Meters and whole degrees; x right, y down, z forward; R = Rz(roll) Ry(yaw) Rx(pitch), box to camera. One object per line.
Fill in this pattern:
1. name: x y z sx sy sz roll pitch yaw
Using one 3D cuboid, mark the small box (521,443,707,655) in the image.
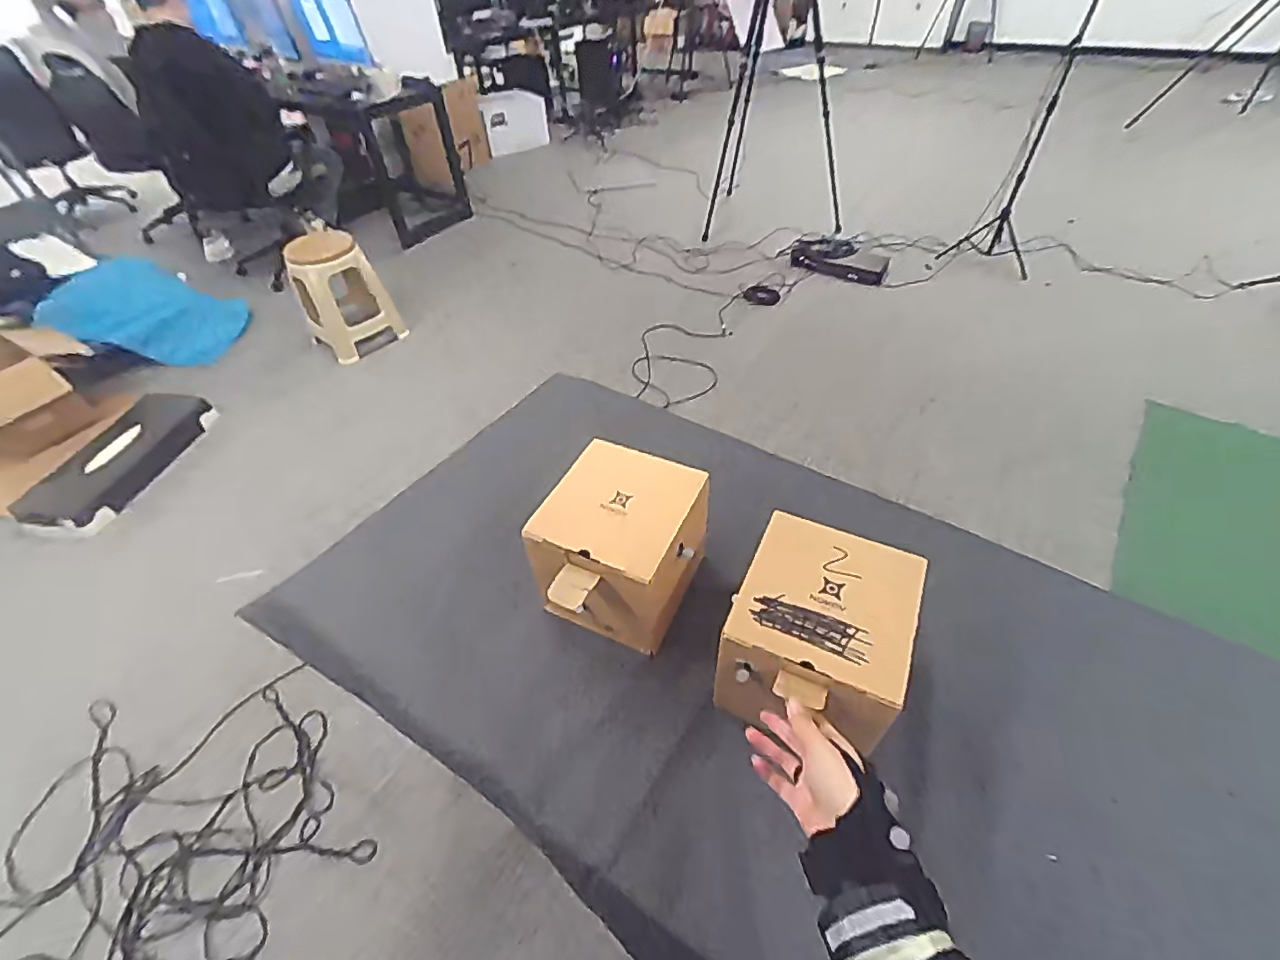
1. small box: -0.026 0.087 0.693 0.168 0.176 0.179 18 50 19
